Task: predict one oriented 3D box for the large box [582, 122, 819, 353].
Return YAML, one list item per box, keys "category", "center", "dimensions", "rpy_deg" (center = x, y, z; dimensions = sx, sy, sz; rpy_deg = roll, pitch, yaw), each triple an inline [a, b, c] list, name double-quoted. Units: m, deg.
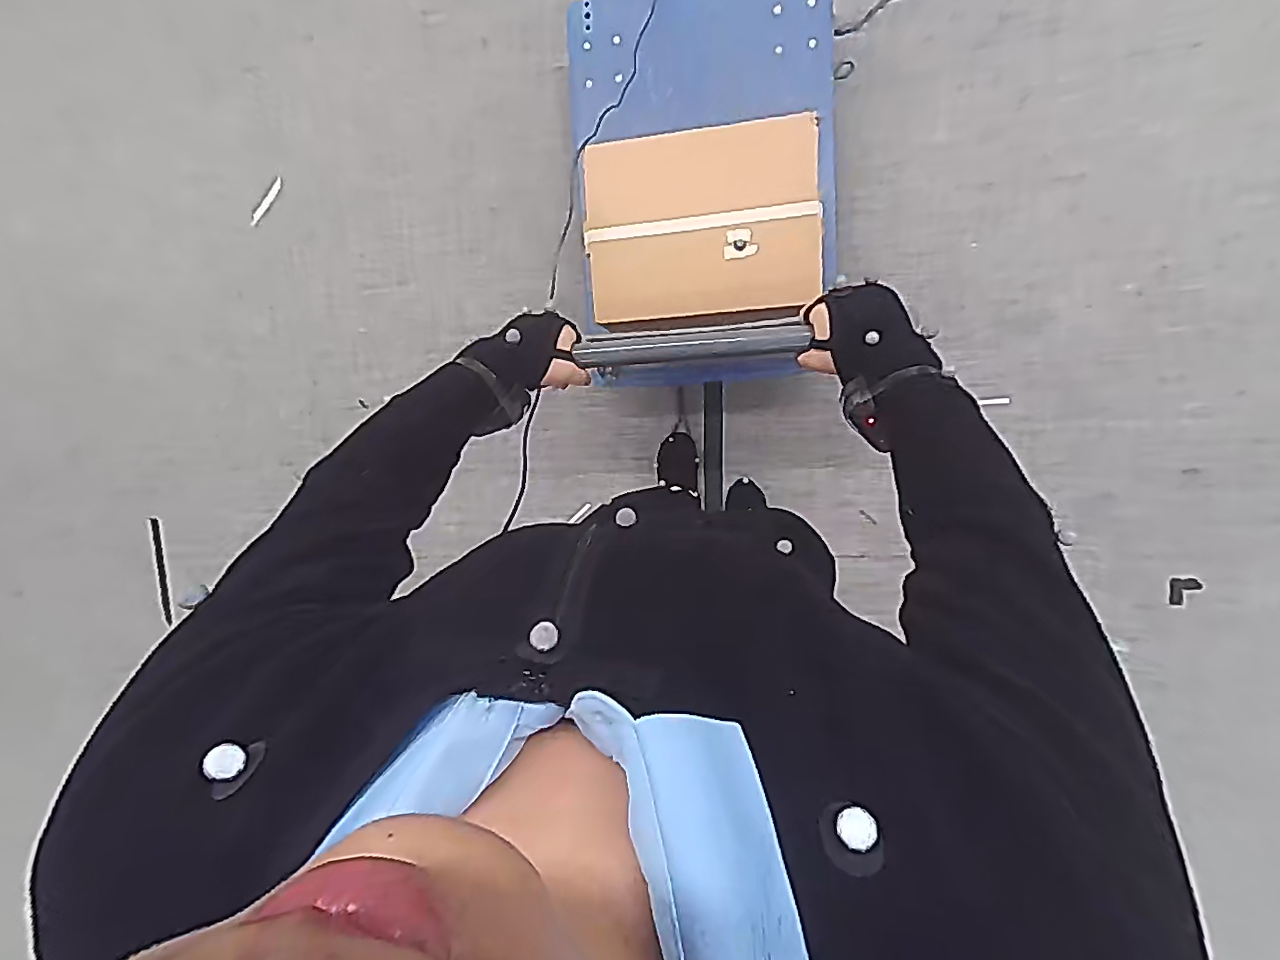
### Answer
- category: "large box"
  center: [0.123, -0.447, 1.089]
  dimensions: [0.408, 0.320, 0.320]
  rpy_deg: [-3, 96, 9]
